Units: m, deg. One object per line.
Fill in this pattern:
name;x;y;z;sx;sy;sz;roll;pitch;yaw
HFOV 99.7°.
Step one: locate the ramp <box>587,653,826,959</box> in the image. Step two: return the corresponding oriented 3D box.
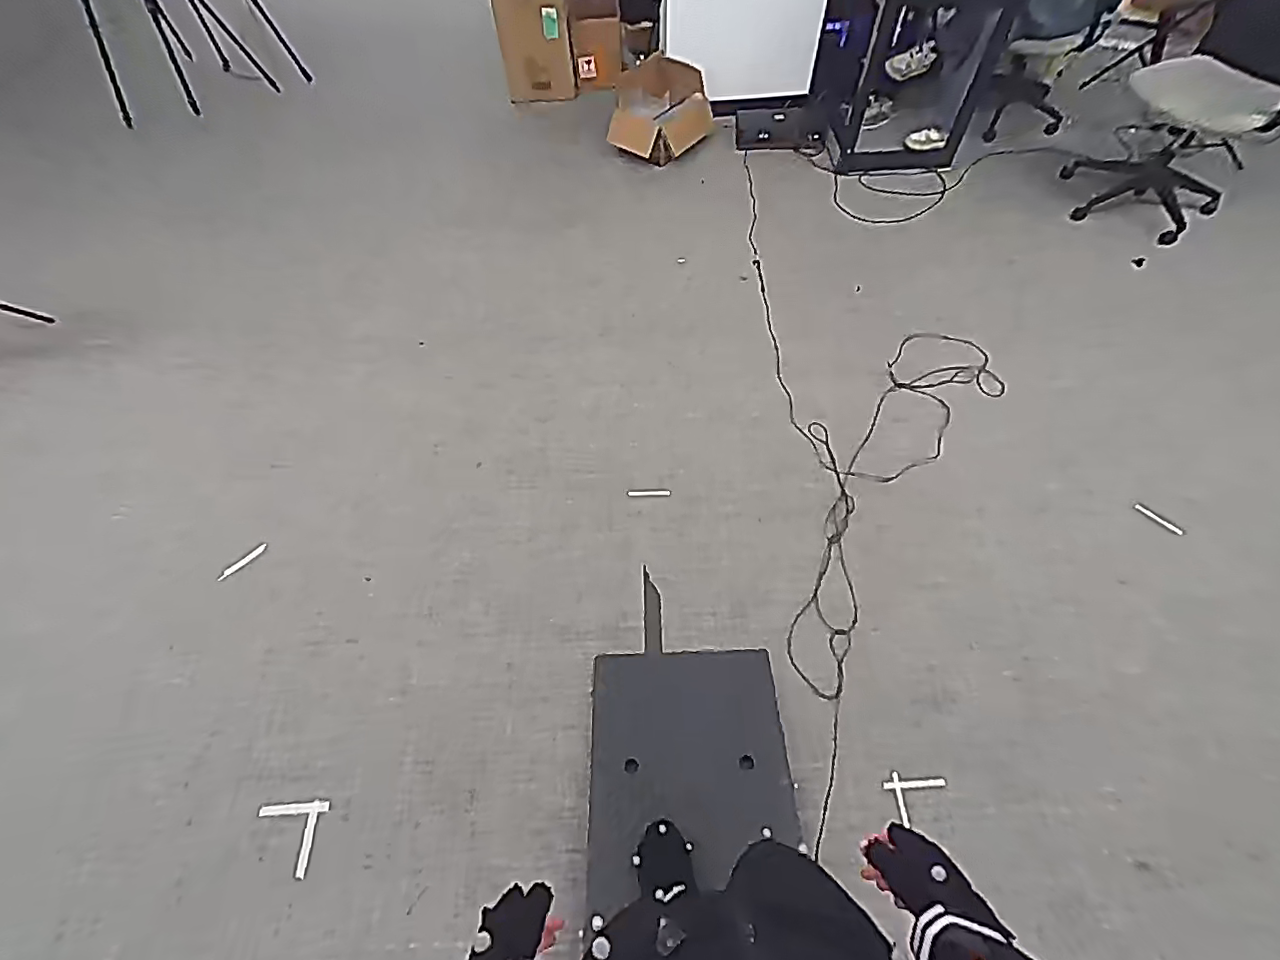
ramp;0.128;0.869;1.195;0.509;0.206;0.991;-5;57;1
